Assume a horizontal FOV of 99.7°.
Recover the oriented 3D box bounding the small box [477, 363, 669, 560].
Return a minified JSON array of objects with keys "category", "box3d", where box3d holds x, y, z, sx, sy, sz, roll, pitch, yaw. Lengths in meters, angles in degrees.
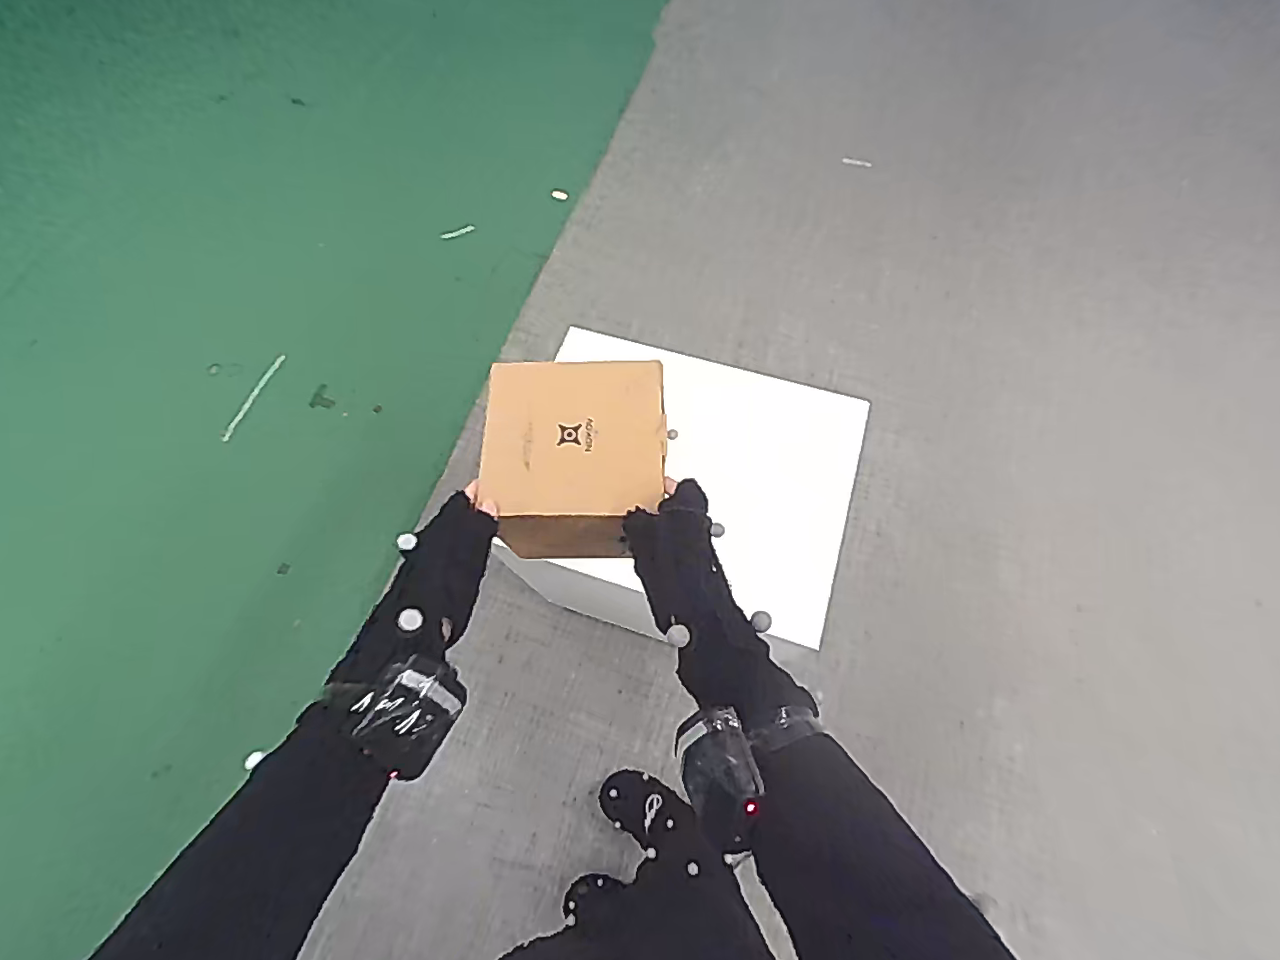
[{"category":"small box","box3d":[-0.057,-0.012,0.592,0.179,0.176,0.168,-1,68,5]}]
